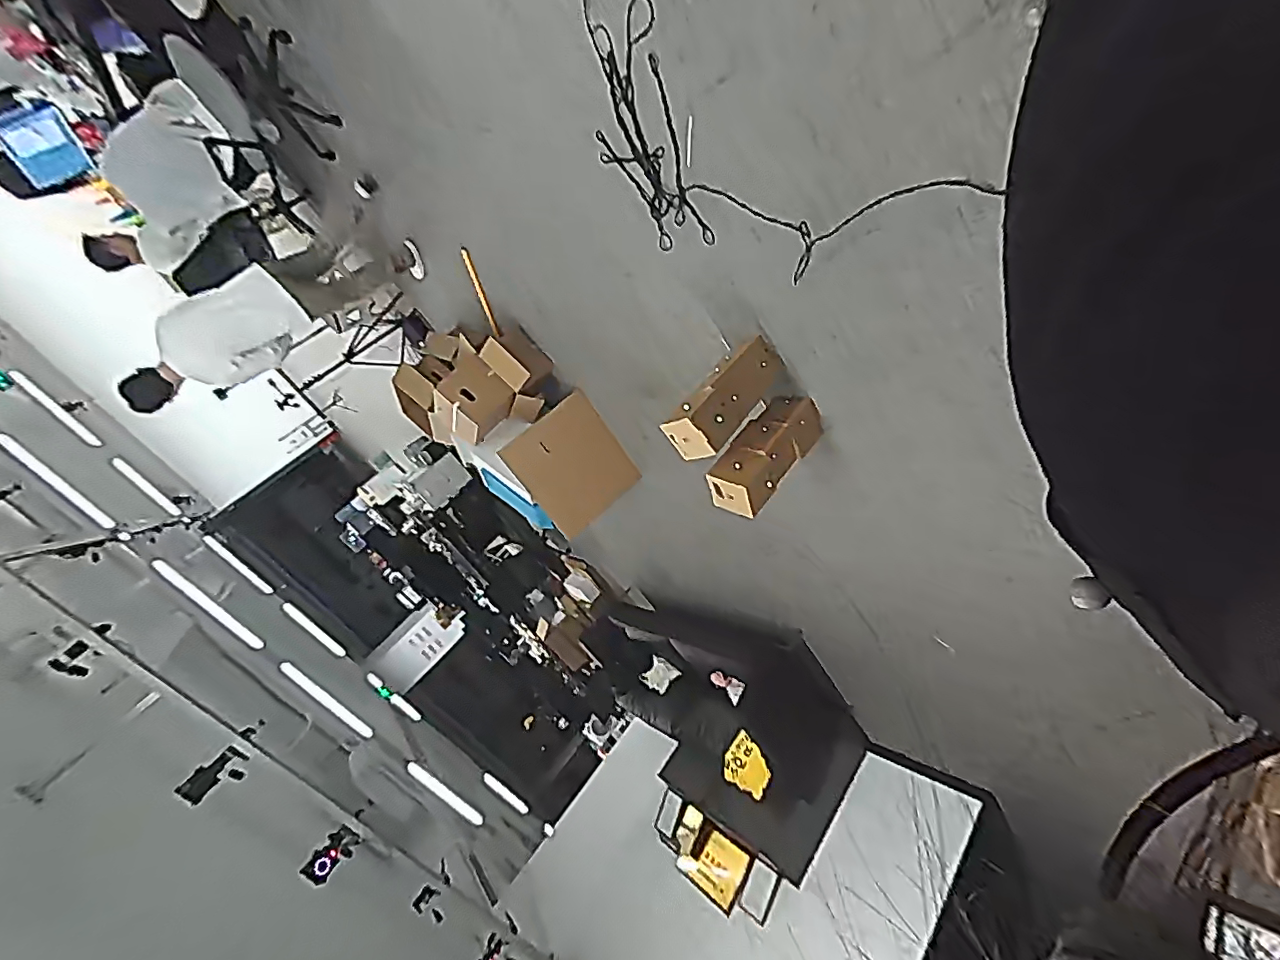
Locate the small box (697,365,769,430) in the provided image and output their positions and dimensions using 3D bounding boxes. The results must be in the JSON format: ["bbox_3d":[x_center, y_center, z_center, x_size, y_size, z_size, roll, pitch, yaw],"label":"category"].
[{"bbox_3d":[0.332,-0.283,1.959,0.179,0.176,0.168,48,154,-10],"label":"small box"}]

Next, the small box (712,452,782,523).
[{"bbox_3d":[0.391,0.021,1.960,0.179,0.176,0.168,20,146,40],"label":"small box"}]

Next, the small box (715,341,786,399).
[{"bbox_3d":[0.423,-0.395,2.036,0.168,0.176,0.179,50,155,-14],"label":"small box"}]

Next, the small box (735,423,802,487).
[{"bbox_3d":[0.489,-0.088,2.036,0.168,0.176,0.179,17,143,45],"label":"small box"}]

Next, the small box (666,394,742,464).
[{"bbox_3d":[0.232,-0.179,1.884,0.168,0.176,0.179,51,152,-17],"label":"small box"}]
